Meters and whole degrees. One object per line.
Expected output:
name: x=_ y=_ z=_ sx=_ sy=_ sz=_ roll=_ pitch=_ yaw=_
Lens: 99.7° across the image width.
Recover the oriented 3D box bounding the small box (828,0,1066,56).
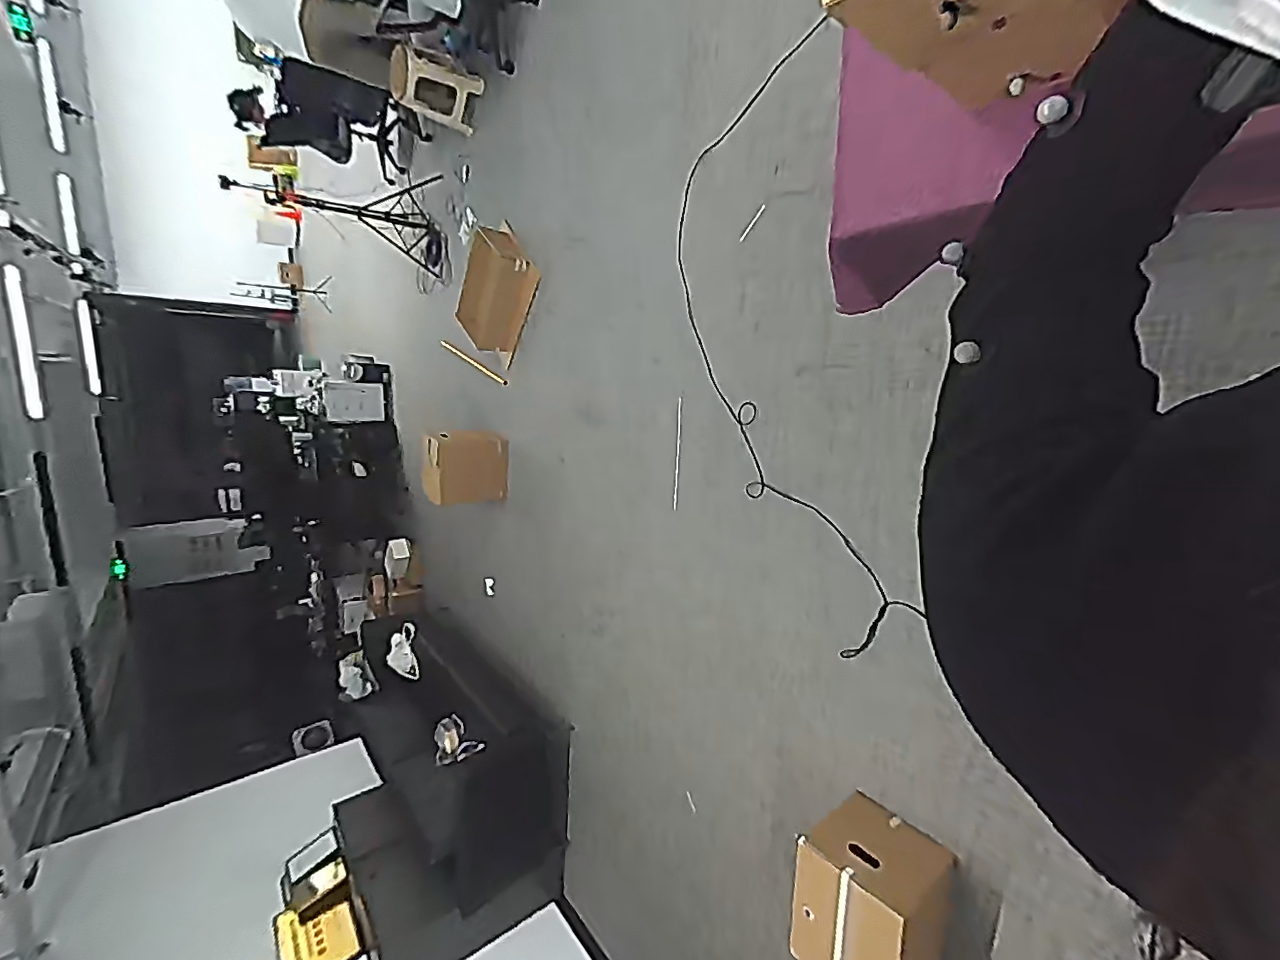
small box: x=0.297 y=-0.530 z=0.493 sx=0.168 sy=0.176 sz=0.179 roll=15 pitch=107 yaw=49

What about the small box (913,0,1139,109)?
small box: x=0.428 y=-0.551 z=0.590 sx=0.168 sy=0.176 sz=0.179 roll=15 pitch=107 yaw=50
